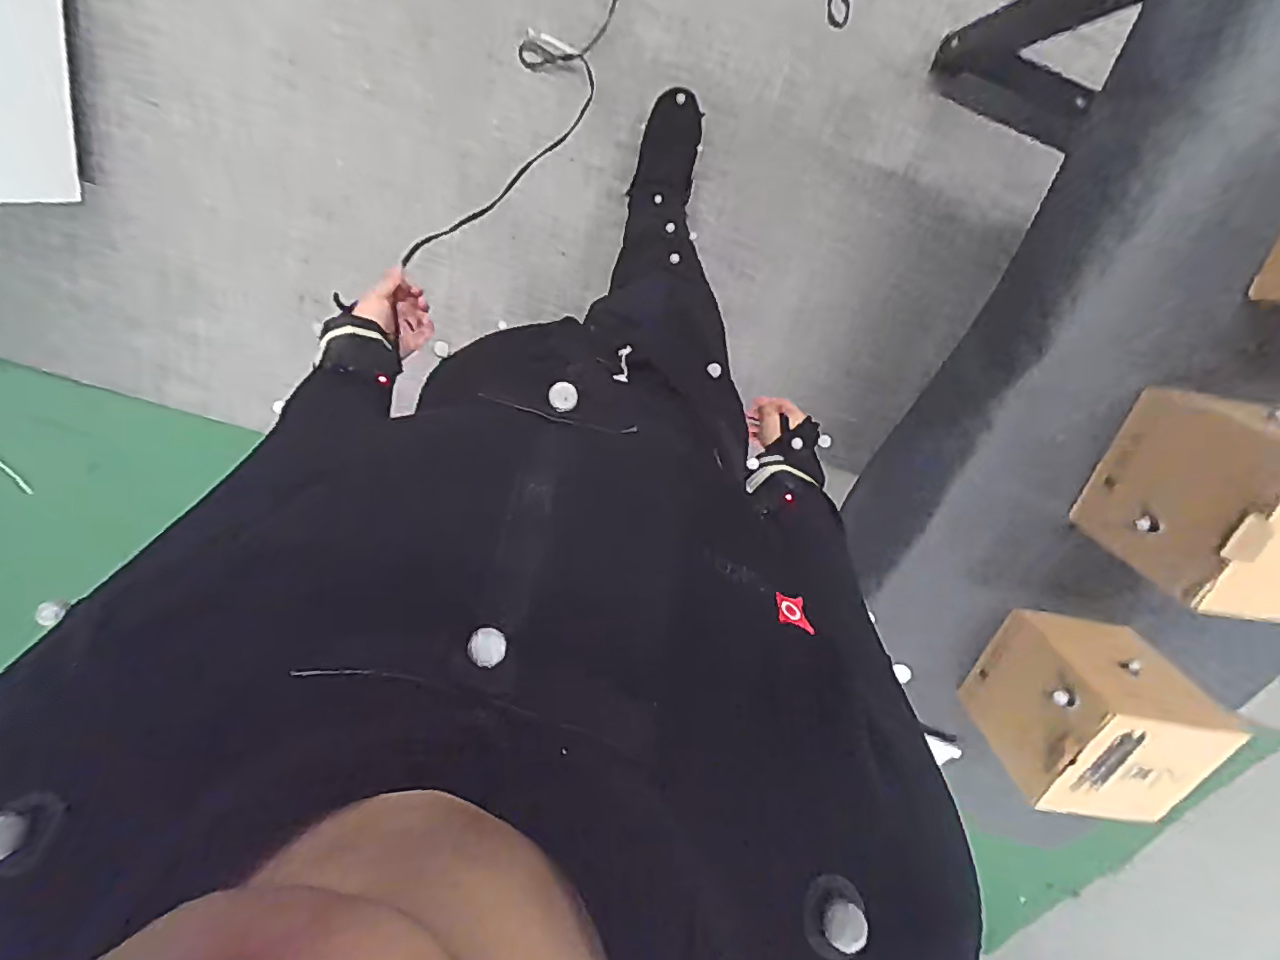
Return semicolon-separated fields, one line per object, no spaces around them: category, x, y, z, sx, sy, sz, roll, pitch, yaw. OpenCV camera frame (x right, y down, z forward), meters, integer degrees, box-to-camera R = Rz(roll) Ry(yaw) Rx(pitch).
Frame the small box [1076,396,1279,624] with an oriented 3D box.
small box;0.605;0.025;0.543;0.179;0.176;0.168;7;118;-6
